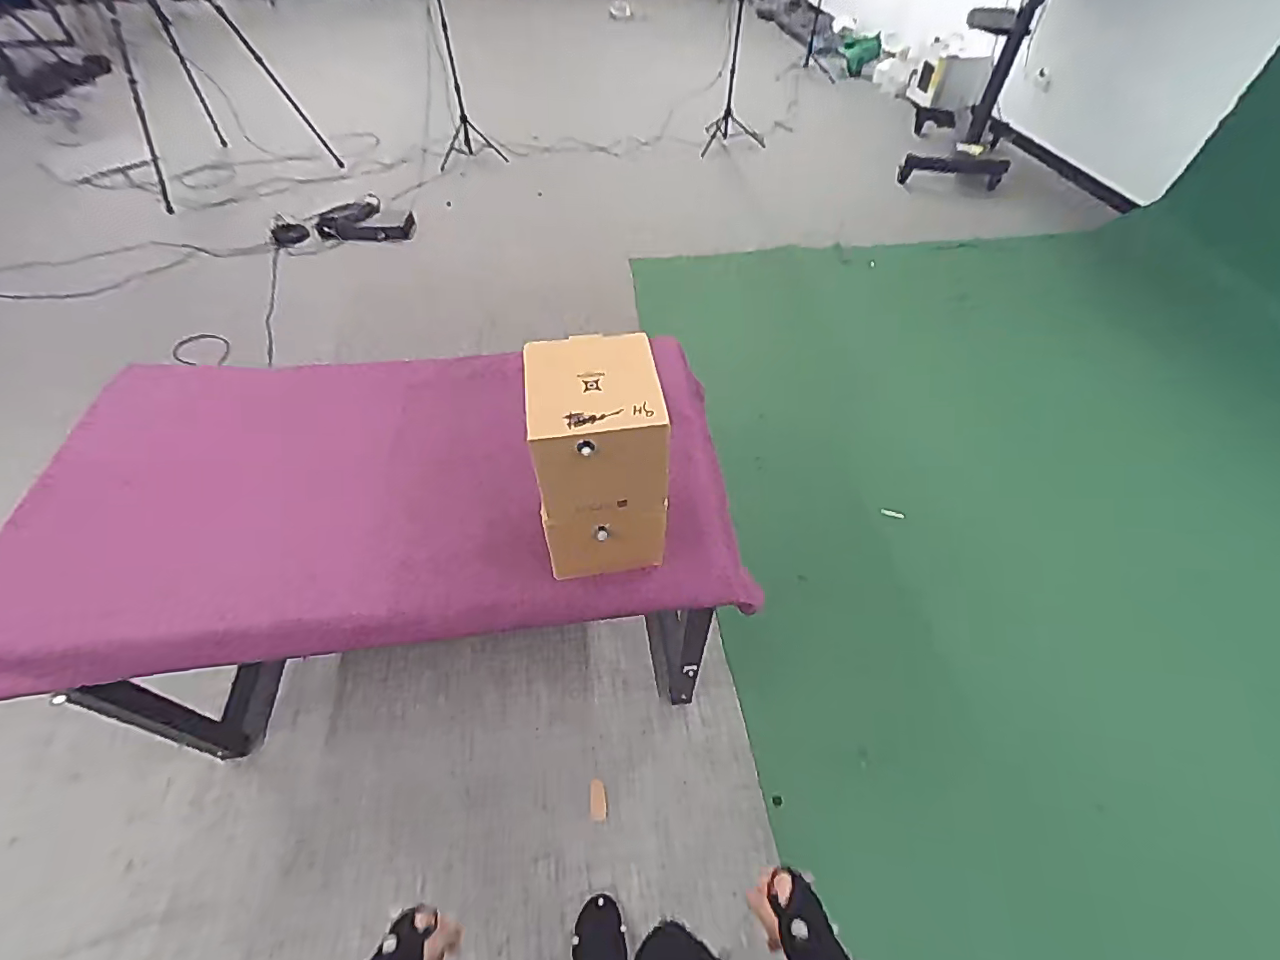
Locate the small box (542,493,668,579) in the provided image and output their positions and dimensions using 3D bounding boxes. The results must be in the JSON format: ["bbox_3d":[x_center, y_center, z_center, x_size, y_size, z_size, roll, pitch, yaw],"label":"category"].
[{"bbox_3d":[-0.058,0.039,0.859,0.179,0.176,0.168,-9,52,-5],"label":"small box"}]

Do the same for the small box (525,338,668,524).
[{"bbox_3d":[-0.059,-0.065,0.732,0.168,0.176,0.179,-9,52,-4],"label":"small box"}]
